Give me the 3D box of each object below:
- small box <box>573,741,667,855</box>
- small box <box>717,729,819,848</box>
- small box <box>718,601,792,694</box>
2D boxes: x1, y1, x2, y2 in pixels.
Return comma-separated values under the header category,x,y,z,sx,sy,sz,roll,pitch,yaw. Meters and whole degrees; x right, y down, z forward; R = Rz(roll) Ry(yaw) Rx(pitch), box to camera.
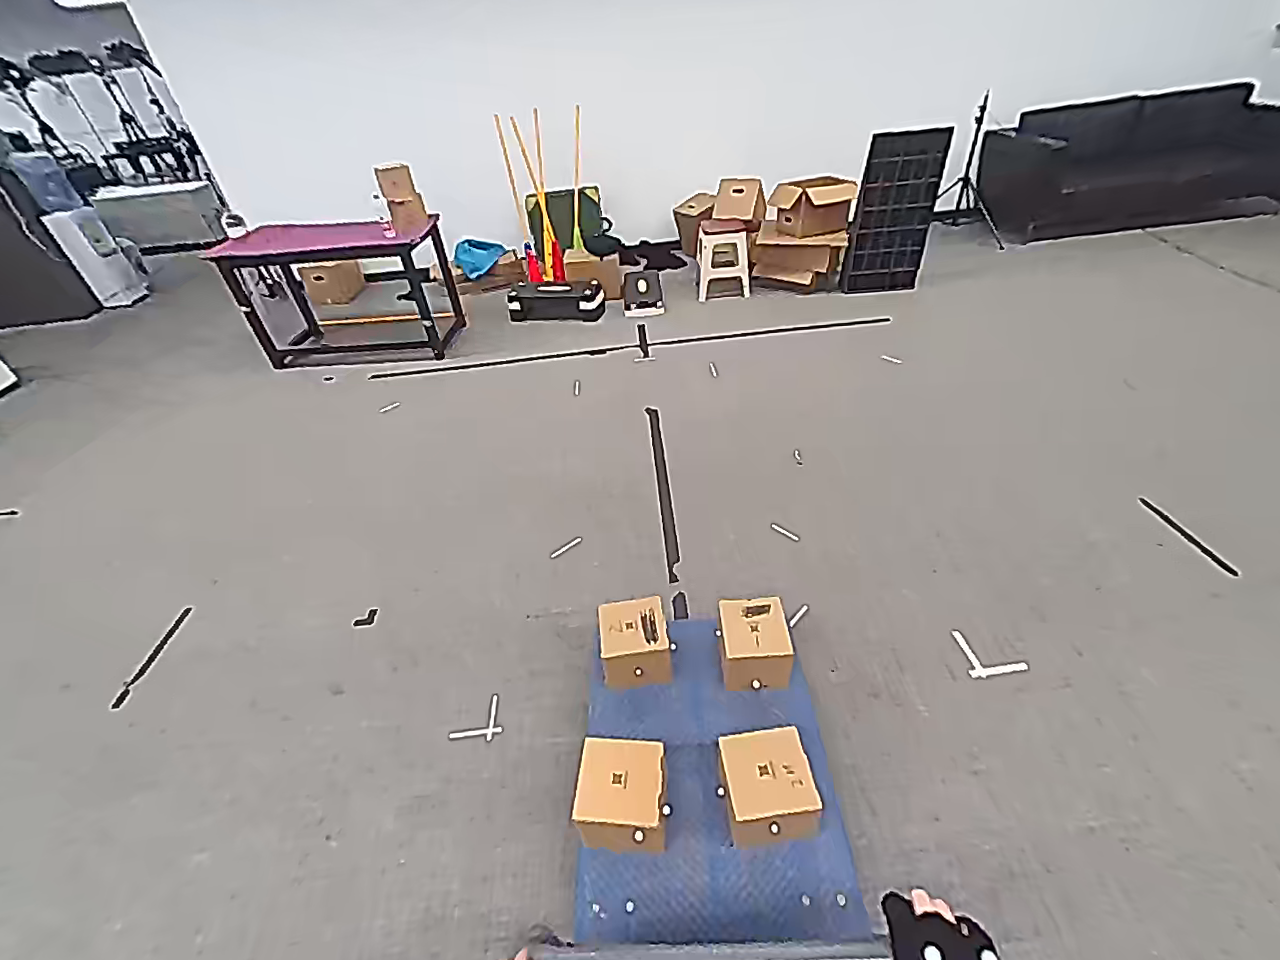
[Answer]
category,x,y,z,sx,sy,sz,roll,pitch,yaw
small box,-0.036,0.694,1.181,0.179,0.176,0.168,0,39,6
small box,0.269,0.669,1.168,0.179,0.176,0.168,-8,39,-1
small box,0.298,0.445,1.438,0.168,0.176,0.179,-4,40,3
